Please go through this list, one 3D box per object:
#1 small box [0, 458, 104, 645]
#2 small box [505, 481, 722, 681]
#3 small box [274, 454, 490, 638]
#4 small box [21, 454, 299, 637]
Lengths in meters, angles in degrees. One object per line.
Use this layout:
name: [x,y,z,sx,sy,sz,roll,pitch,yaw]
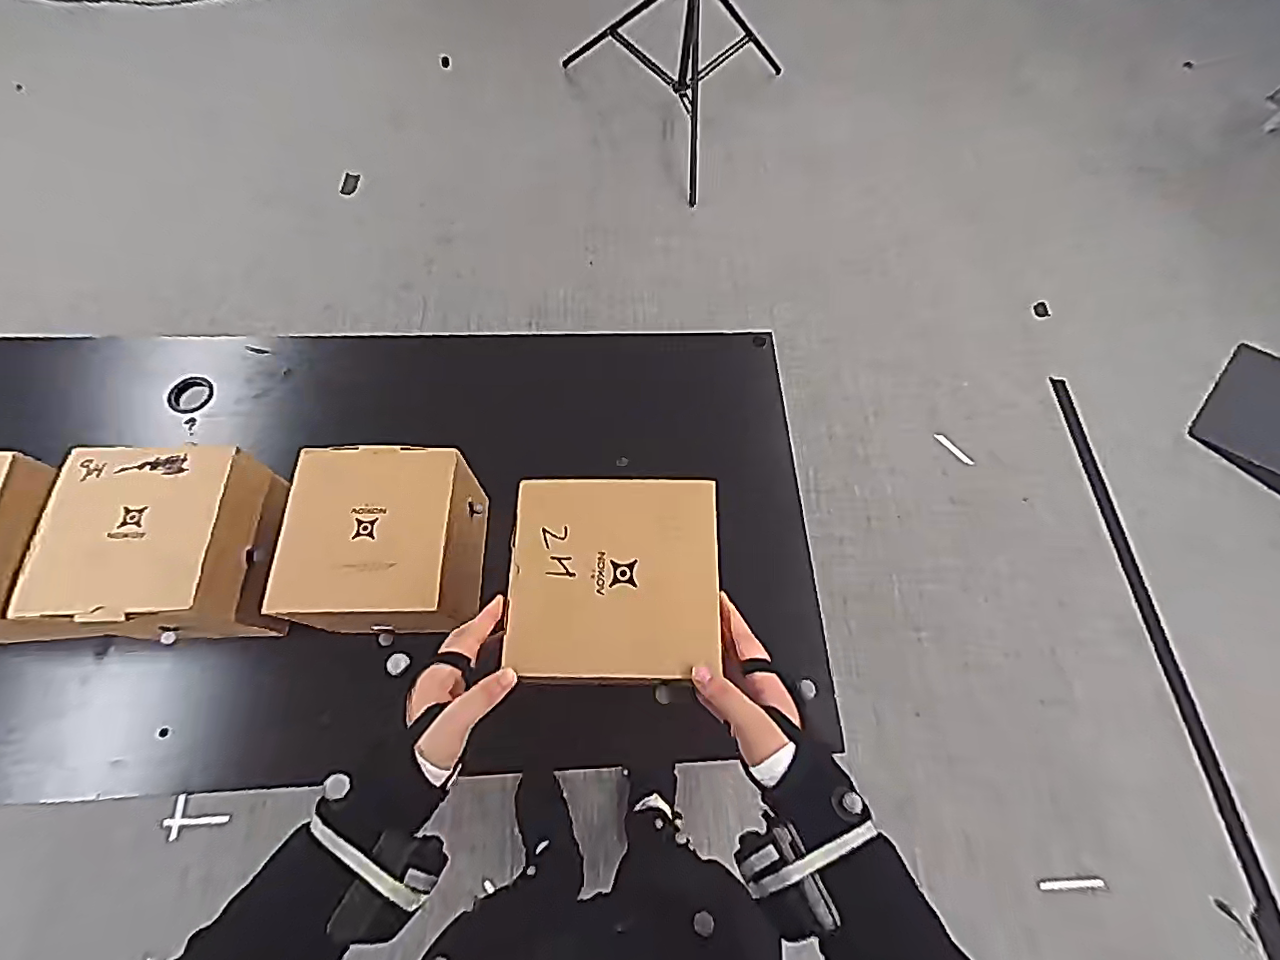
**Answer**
small box: [-0.717,0.088,0.597,0.179,0.176,0.168,-3,68,-6]
small box: [-0.018,0.107,0.532,0.179,0.176,0.168,0,68,3]
small box: [-0.277,0.083,0.629,0.168,0.176,0.179,-1,68,-2]
small box: [-0.503,0.083,0.613,0.168,0.176,0.179,-1,68,-3]
